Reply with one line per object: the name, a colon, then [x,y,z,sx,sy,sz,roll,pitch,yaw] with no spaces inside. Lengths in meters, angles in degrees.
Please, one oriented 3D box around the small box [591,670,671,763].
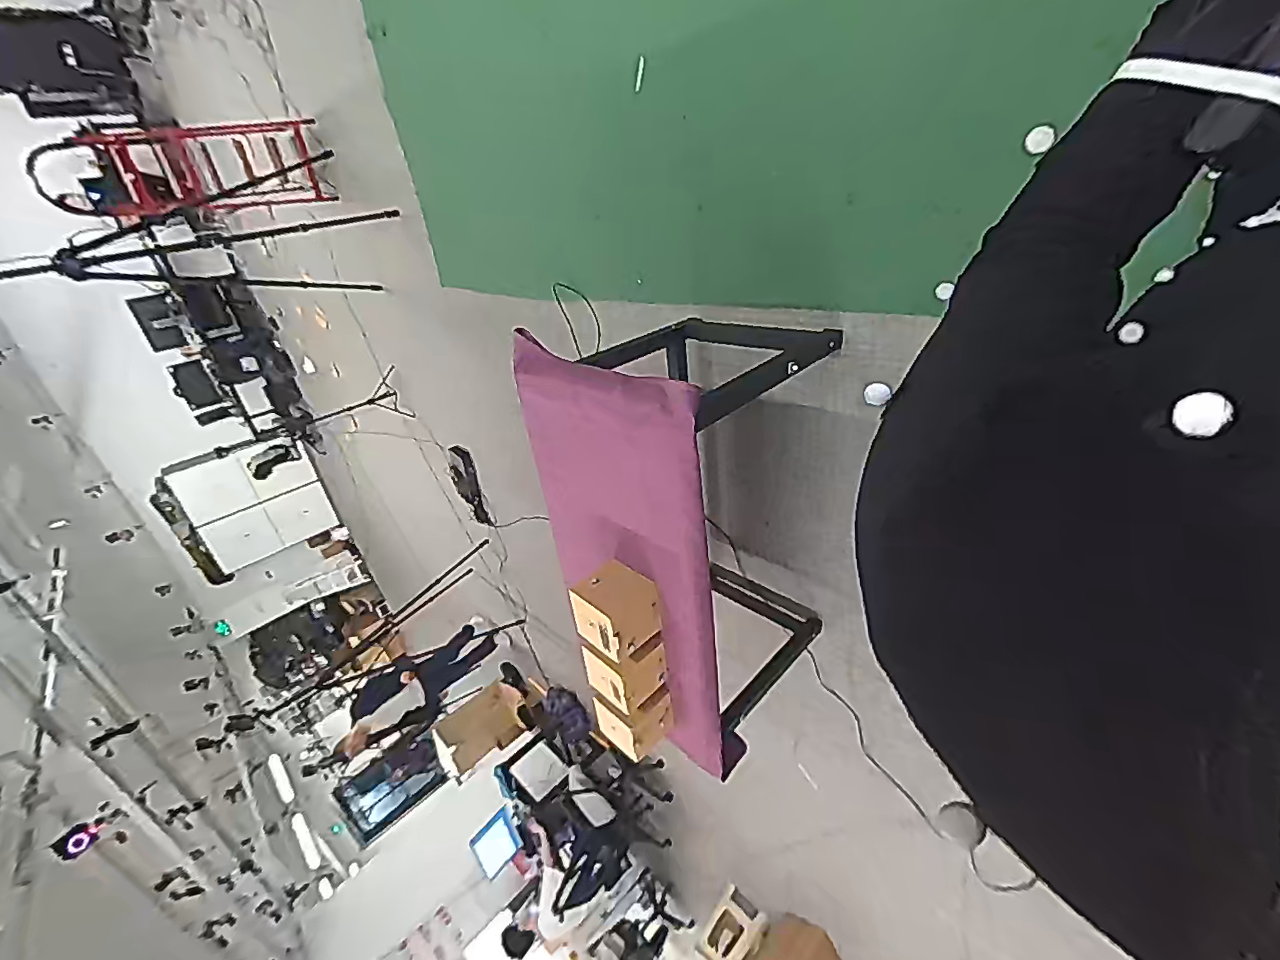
small box: [-0.025,0.724,1.682,0.179,0.176,0.168,22,130,41]
